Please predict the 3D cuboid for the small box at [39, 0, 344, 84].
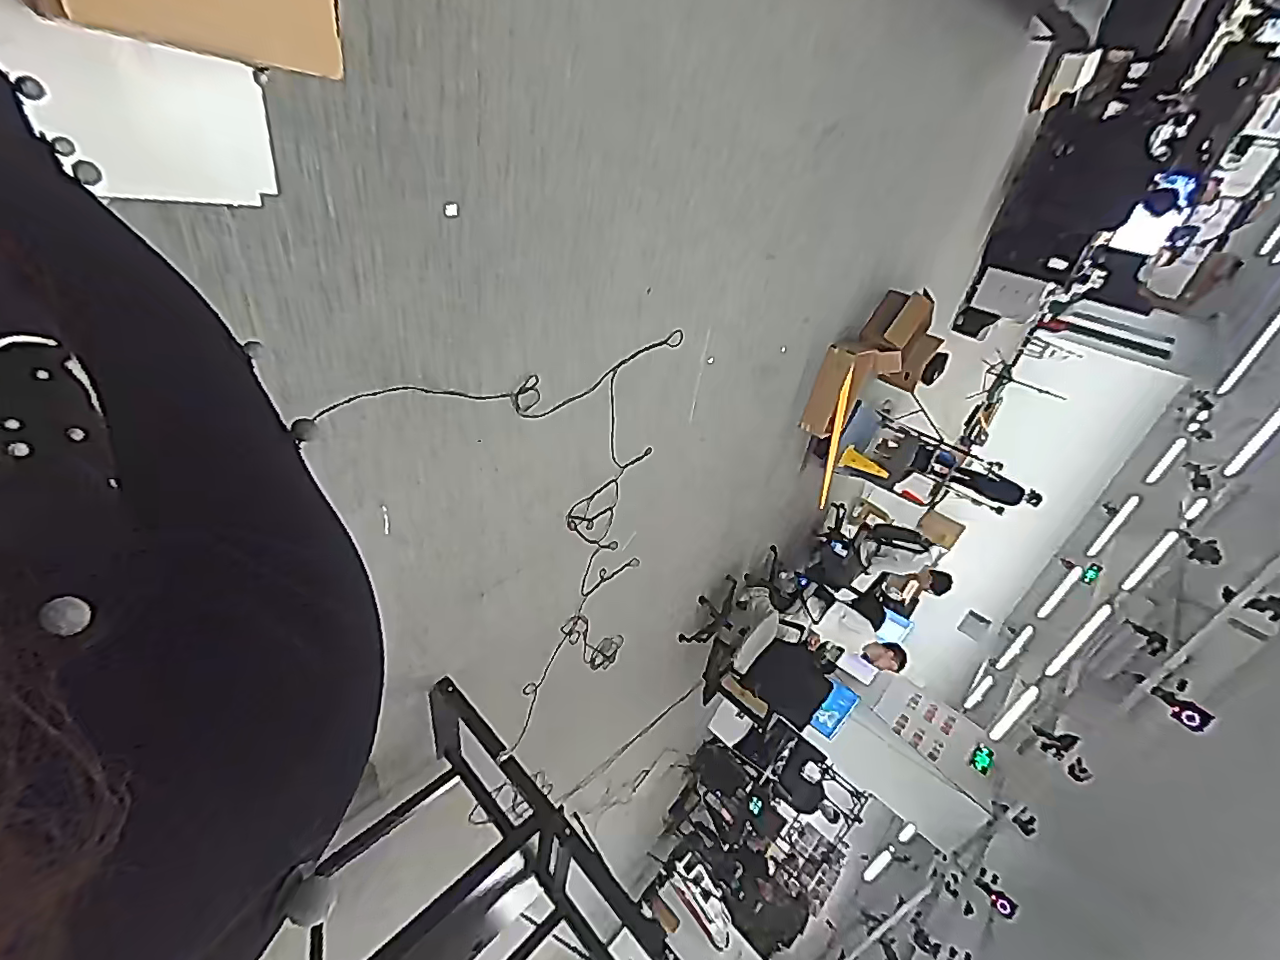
[{"bbox_3d":[-0.358,-0.431,0.416,0.179,0.176,0.168,-20,133,-43],"label":"small box"}]
